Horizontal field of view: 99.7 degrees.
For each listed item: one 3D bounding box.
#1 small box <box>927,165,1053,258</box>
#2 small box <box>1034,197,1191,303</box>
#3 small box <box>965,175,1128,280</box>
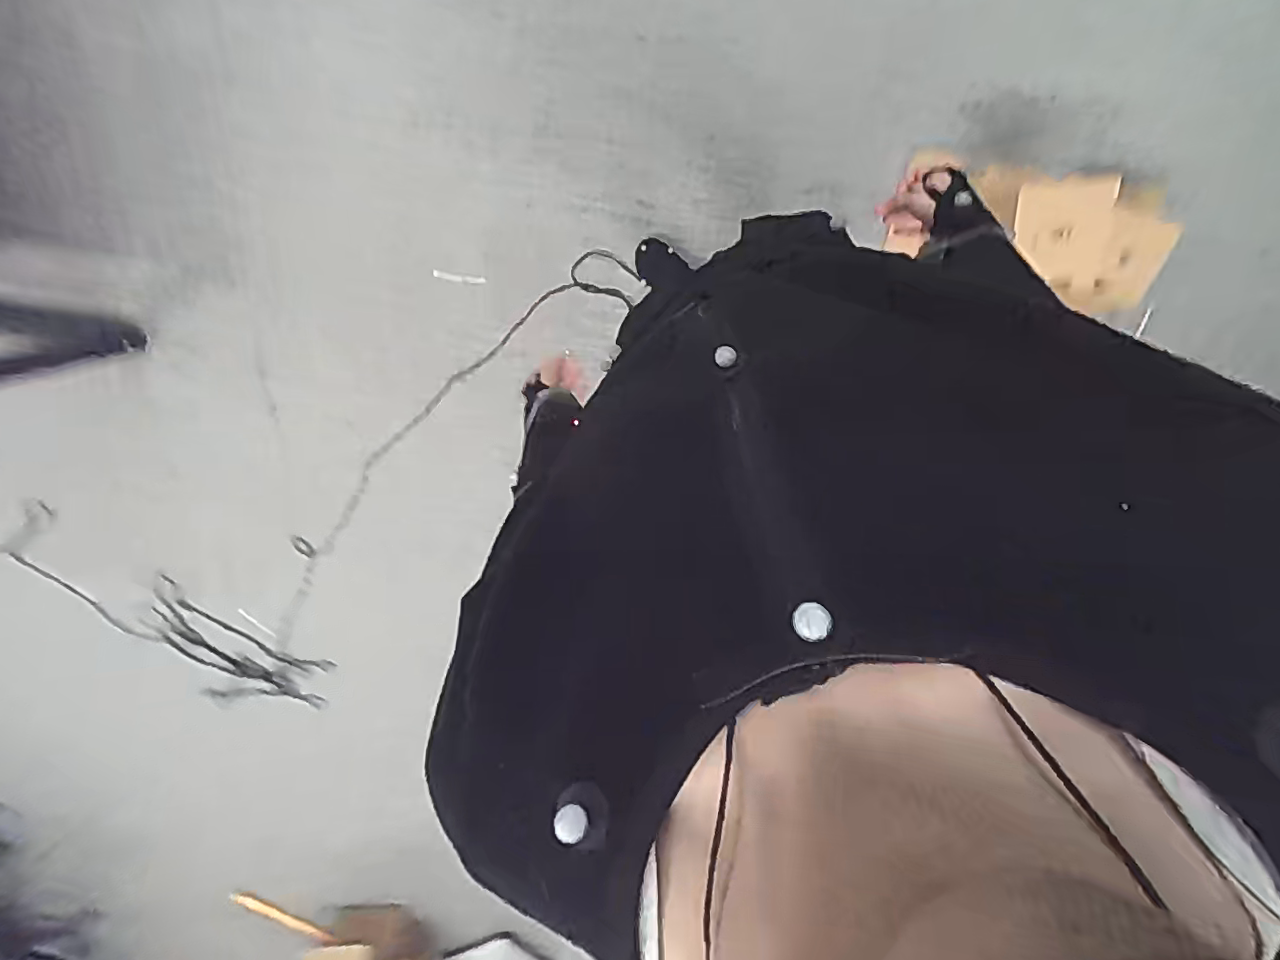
[{"bbox_3d":[0.776,-0.579,1.197,0.179,0.176,0.168,11,115,-4],"label":"small box"},{"bbox_3d":[1.044,-0.516,1.217,0.168,0.176,0.179,13,114,-5],"label":"small box"},{"bbox_3d":[0.779,-0.491,1.057,0.179,0.176,0.168,-4,114,4],"label":"small box"}]
